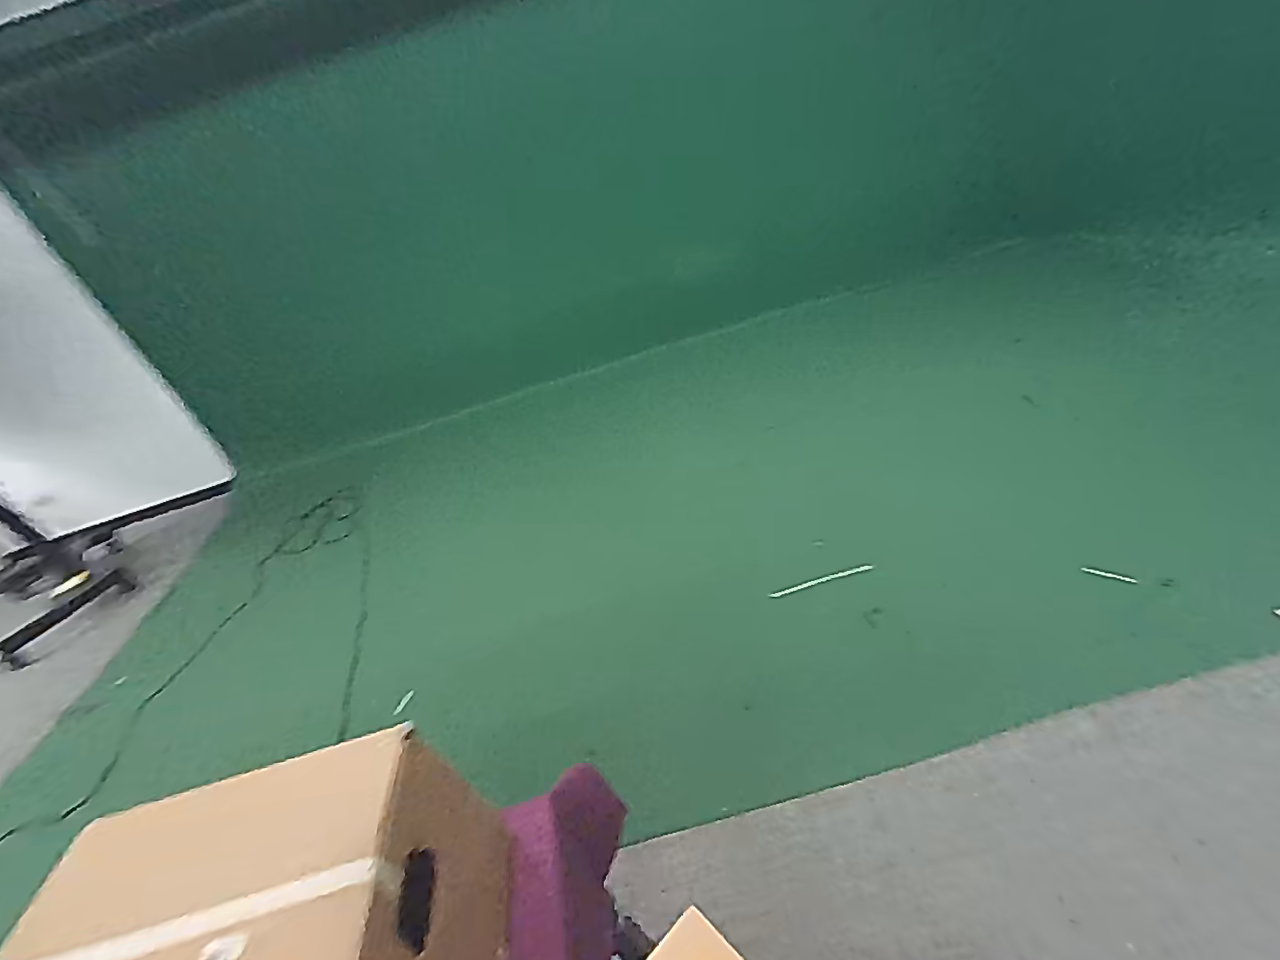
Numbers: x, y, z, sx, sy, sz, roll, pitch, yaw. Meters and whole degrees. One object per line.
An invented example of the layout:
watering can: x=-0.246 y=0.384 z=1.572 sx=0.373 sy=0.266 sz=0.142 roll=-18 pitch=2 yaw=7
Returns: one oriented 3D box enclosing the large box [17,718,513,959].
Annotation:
large box: x=-0.392 y=0.546 z=0.610 sx=0.408 sy=0.320 sz=0.320 roll=-17 pitch=35 yaw=0
